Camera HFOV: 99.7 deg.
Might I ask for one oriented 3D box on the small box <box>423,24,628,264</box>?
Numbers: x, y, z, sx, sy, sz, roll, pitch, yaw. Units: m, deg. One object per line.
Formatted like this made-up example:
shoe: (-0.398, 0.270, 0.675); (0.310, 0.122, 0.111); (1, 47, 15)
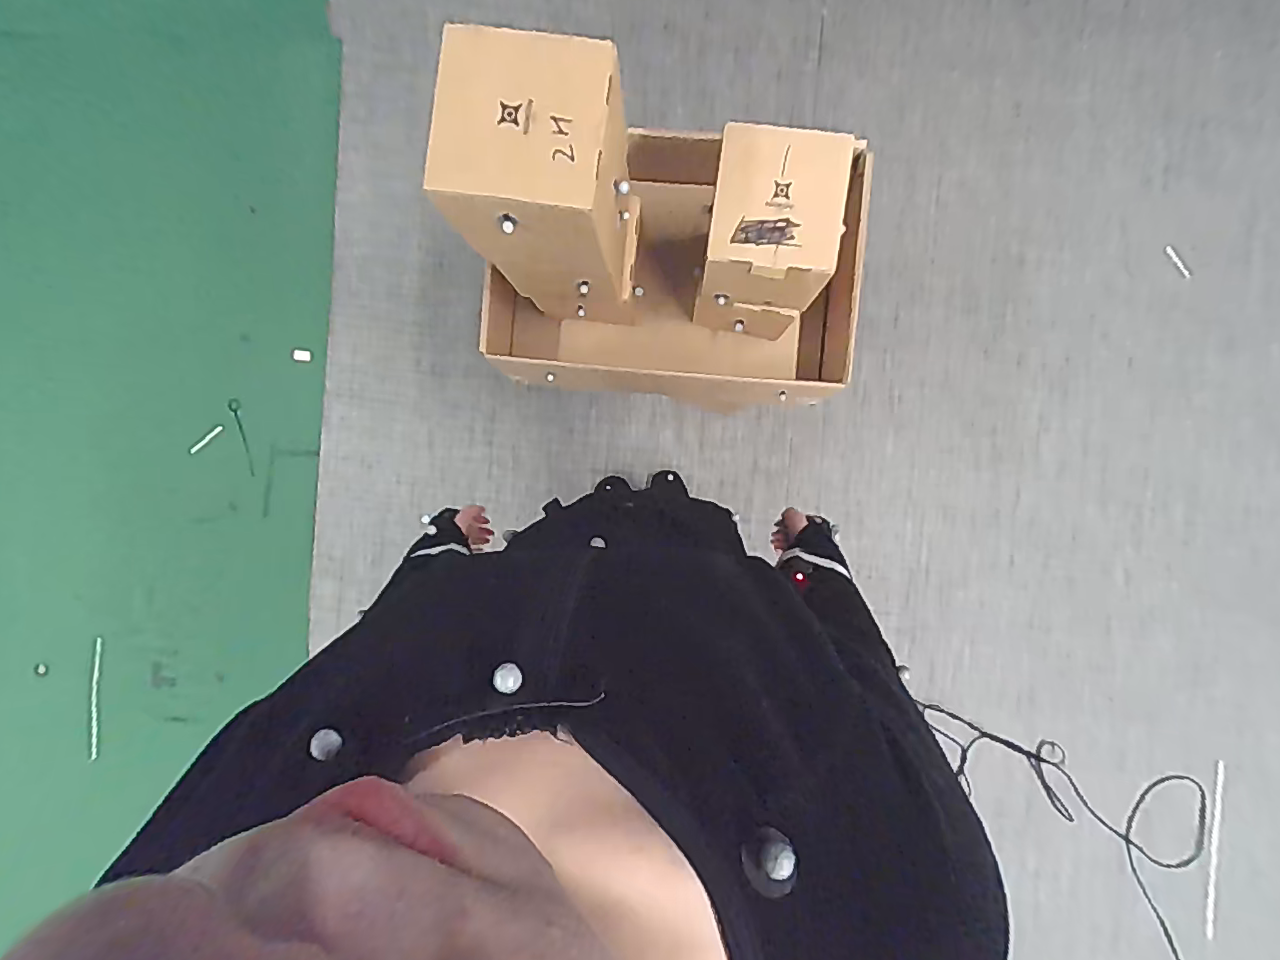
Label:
small box: (-0.116, -0.364, 0.617); (0.179, 0.176, 0.168); (9, 93, 3)

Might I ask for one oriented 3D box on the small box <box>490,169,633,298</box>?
small box: (-0.103, -0.376, 0.781); (0.168, 0.176, 0.179); (6, 92, 3)

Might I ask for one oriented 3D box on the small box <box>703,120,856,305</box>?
small box: (0.183, -0.361, 0.761); (0.168, 0.176, 0.179); (8, 91, 4)
